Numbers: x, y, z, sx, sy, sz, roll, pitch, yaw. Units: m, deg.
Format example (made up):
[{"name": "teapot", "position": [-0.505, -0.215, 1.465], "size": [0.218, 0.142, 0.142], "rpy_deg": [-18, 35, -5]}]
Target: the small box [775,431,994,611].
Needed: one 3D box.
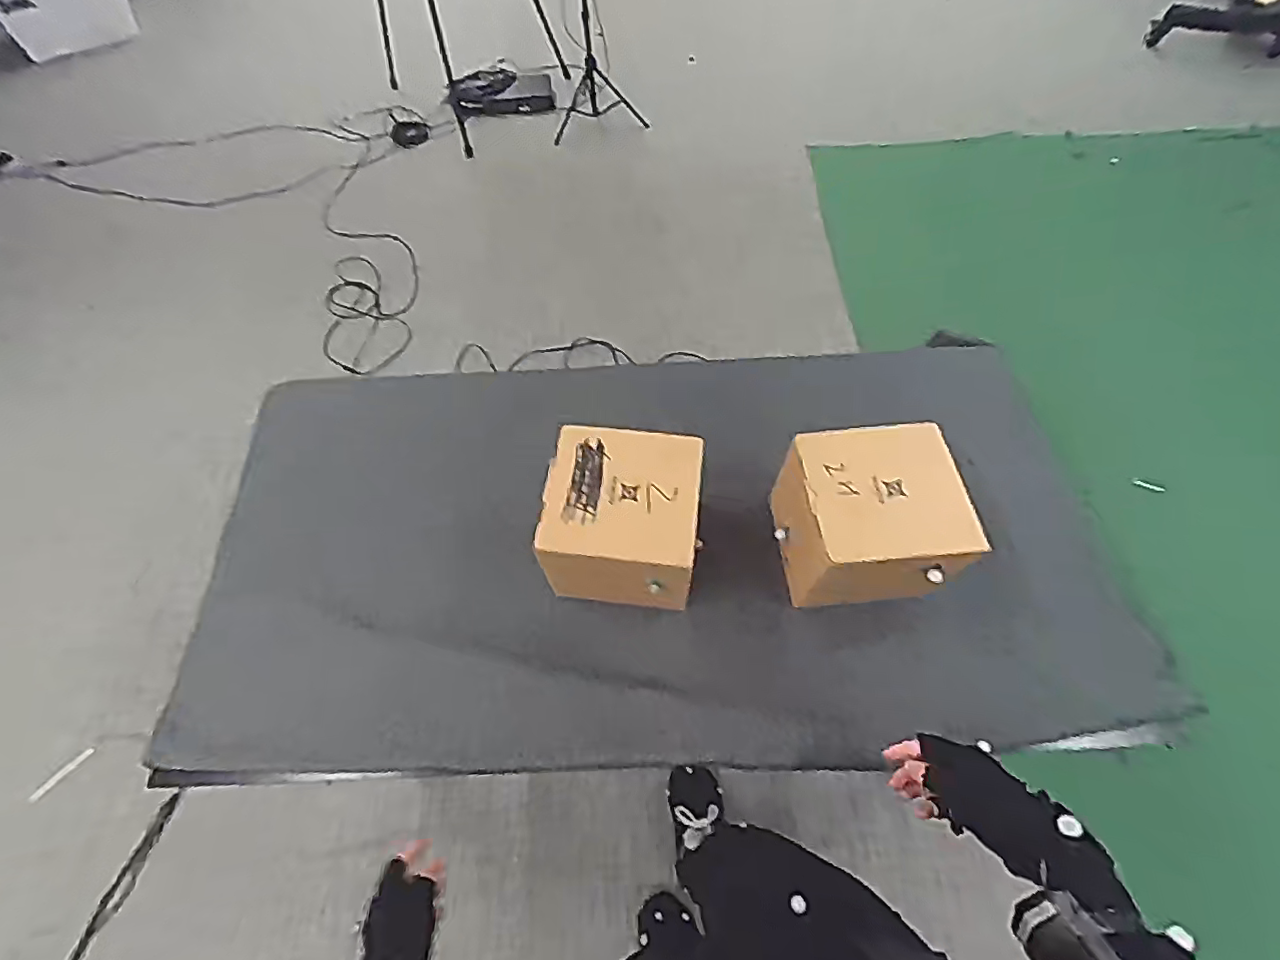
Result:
[{"name": "small box", "position": [0.283, 0.057, 0.673], "size": [0.179, 0.176, 0.168], "rpy_deg": [-5, 60, -1]}]
